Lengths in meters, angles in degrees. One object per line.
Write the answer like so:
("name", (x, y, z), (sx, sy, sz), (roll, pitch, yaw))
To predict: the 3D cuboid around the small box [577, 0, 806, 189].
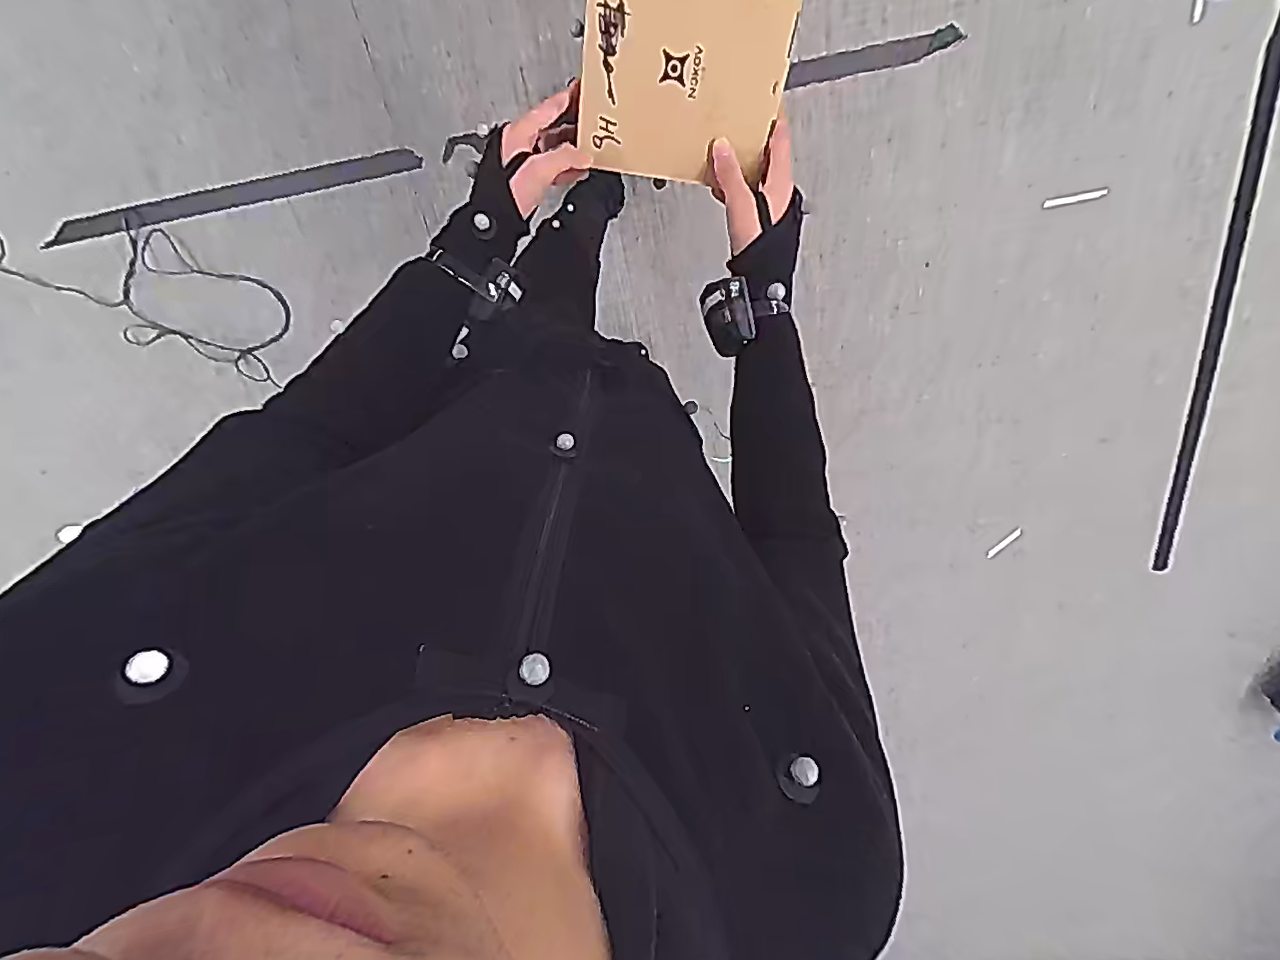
("small box", (0.037, -0.395, 0.522), (0.179, 0.176, 0.168), (6, 123, -5))
